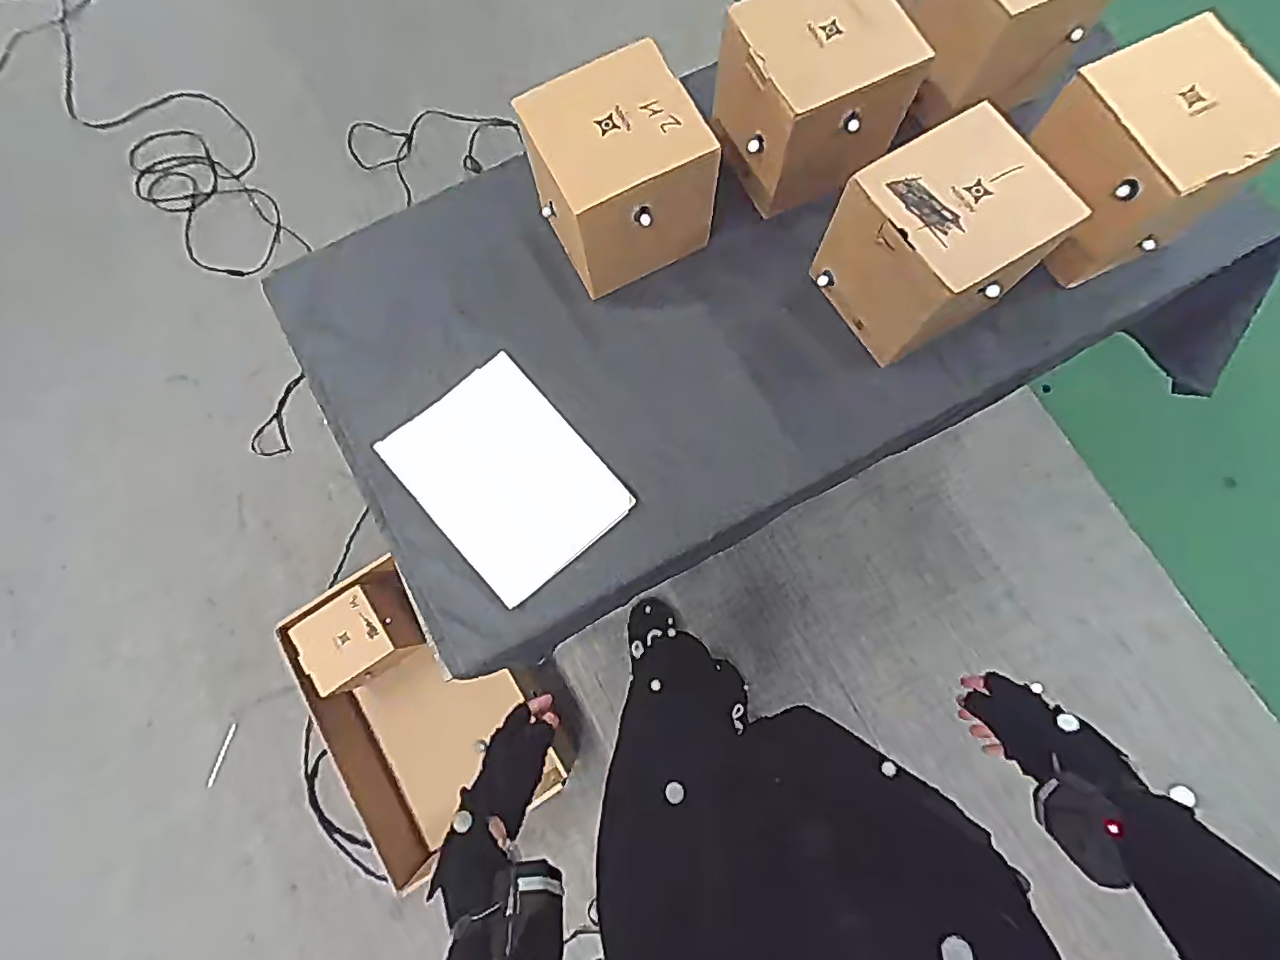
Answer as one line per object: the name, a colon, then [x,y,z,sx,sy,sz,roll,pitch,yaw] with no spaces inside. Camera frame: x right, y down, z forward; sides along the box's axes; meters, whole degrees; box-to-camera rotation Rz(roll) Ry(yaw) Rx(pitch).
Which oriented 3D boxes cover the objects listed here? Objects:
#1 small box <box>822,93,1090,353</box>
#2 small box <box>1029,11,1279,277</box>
small box: [0.332,-0.276,0.618,0.179,0.176,0.168,-30,78,-5]
small box: [0.573,-0.379,0.635,0.168,0.176,0.179,-25,78,-3]
